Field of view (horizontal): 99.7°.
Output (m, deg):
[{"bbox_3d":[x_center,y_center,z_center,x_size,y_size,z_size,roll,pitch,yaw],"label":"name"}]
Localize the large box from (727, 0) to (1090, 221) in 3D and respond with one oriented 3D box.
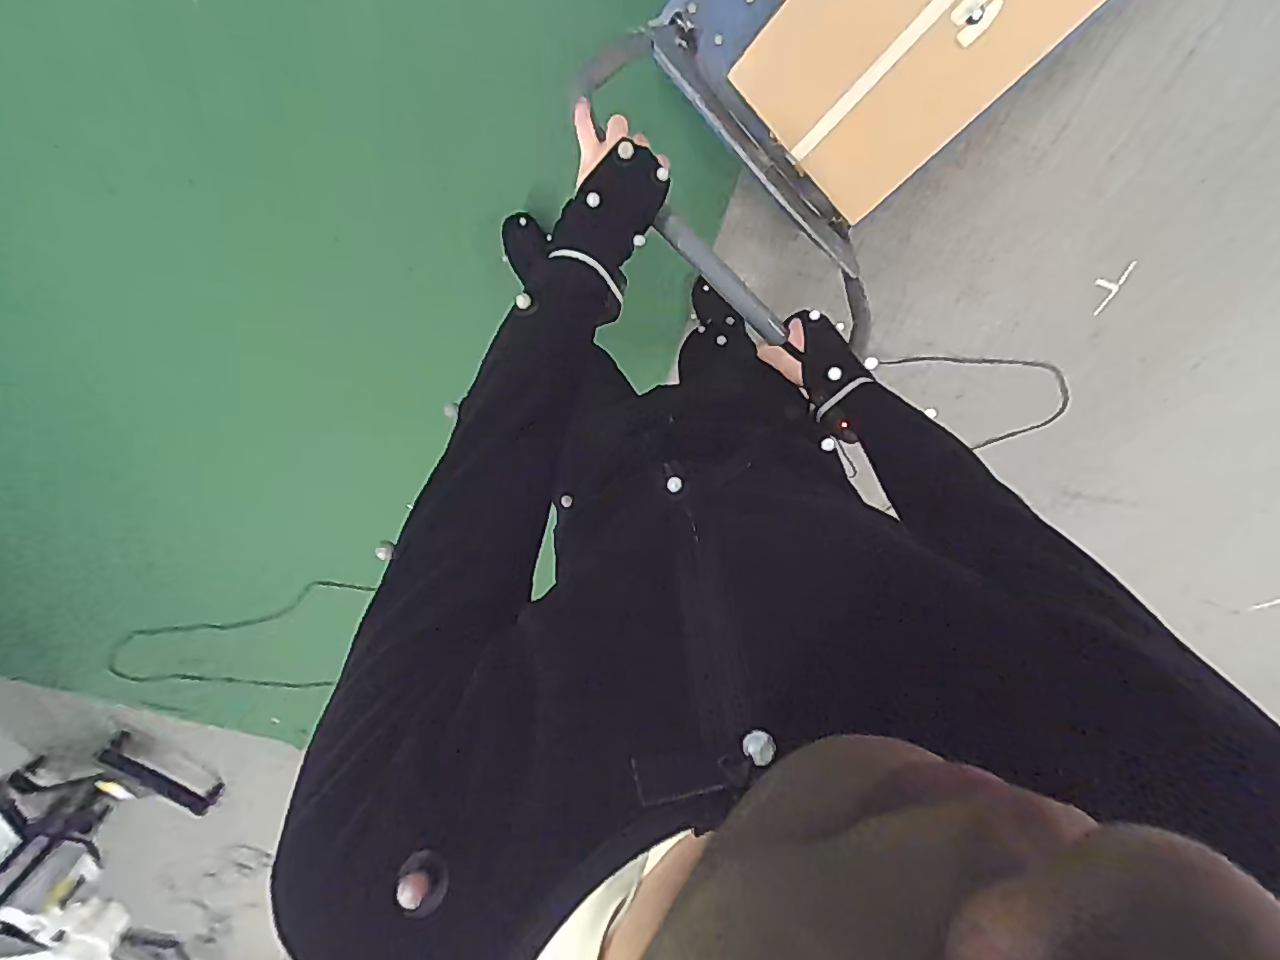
[{"bbox_3d":[0.391,-0.720,0.881,0.320,0.320,0.408,38,125,-19],"label":"large box"}]
